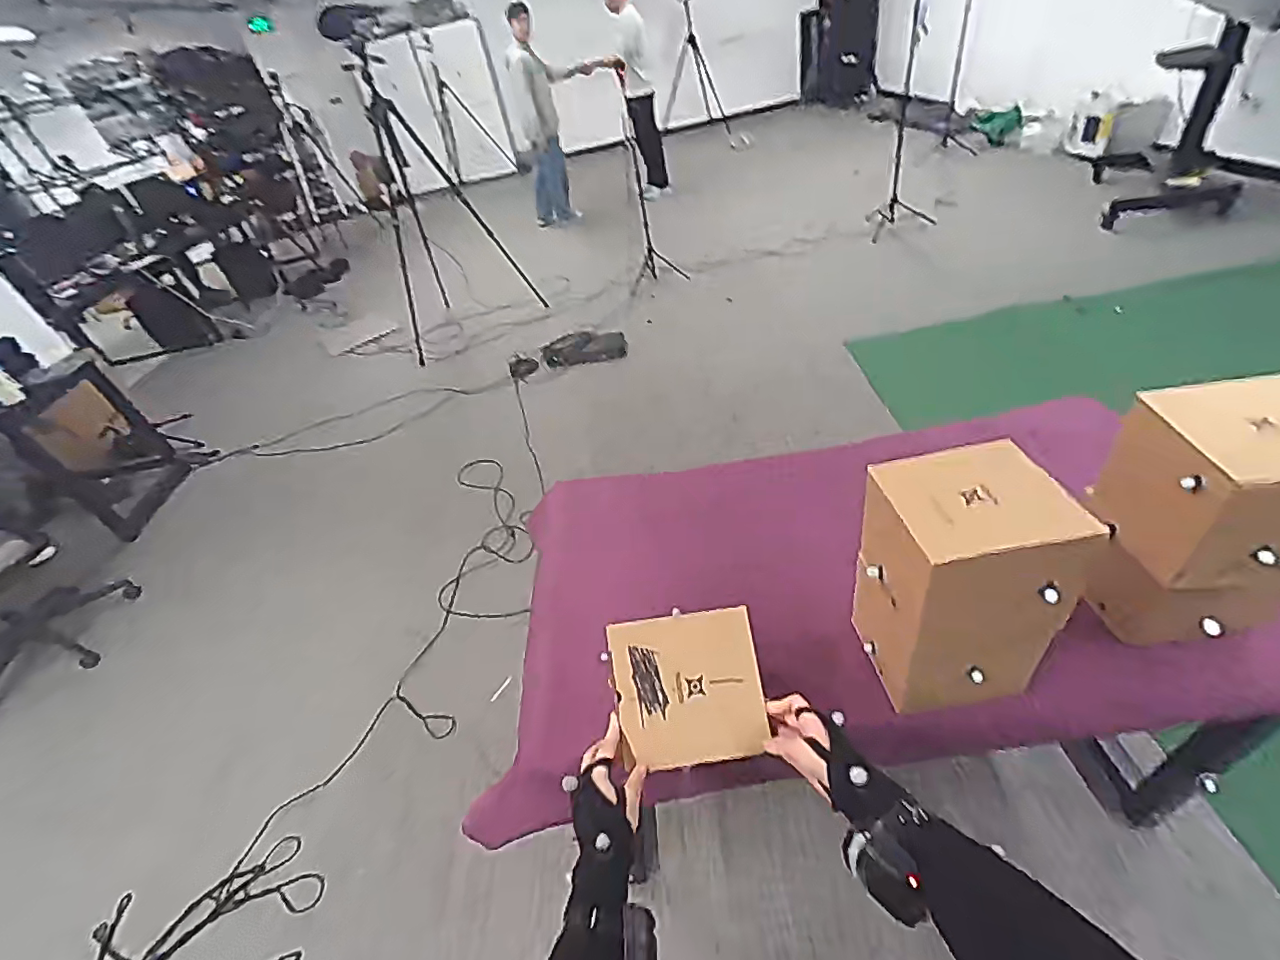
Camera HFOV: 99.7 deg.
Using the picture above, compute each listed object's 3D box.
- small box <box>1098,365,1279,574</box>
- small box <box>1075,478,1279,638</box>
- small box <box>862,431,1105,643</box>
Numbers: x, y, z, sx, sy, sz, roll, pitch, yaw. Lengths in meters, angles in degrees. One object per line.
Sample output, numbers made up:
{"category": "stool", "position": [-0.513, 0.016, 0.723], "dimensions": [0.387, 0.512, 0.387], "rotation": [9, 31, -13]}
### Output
{"category": "small box", "position": [0.700, -0.012, 0.641], "dimensions": [0.168, 0.176, 0.179], "rotation": [-7, 40, 10]}
{"category": "small box", "position": [0.745, 0.096, 0.758], "dimensions": [0.179, 0.176, 0.168], "rotation": [-13, 38, 5]}
{"category": "small box", "position": [0.382, 0.069, 0.644], "dimensions": [0.179, 0.176, 0.168], "rotation": [-12, 38, 5]}
